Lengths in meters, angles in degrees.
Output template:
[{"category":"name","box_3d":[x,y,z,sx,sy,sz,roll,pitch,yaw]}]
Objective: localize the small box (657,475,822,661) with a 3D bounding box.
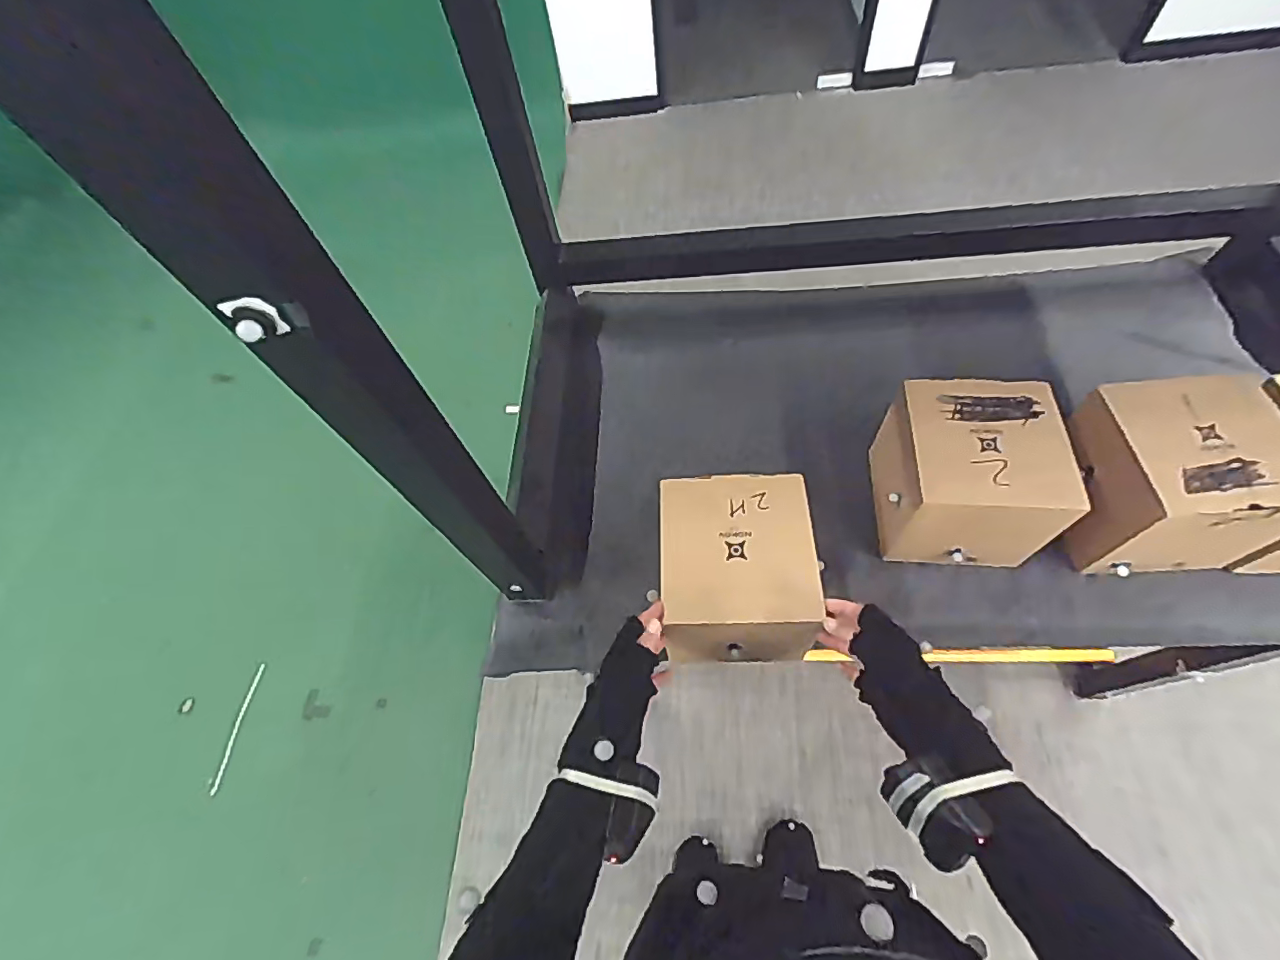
[{"category":"small box","box_3d":[0.110,0.113,0.647,0.168,0.176,0.179,-2,58,5]}]
